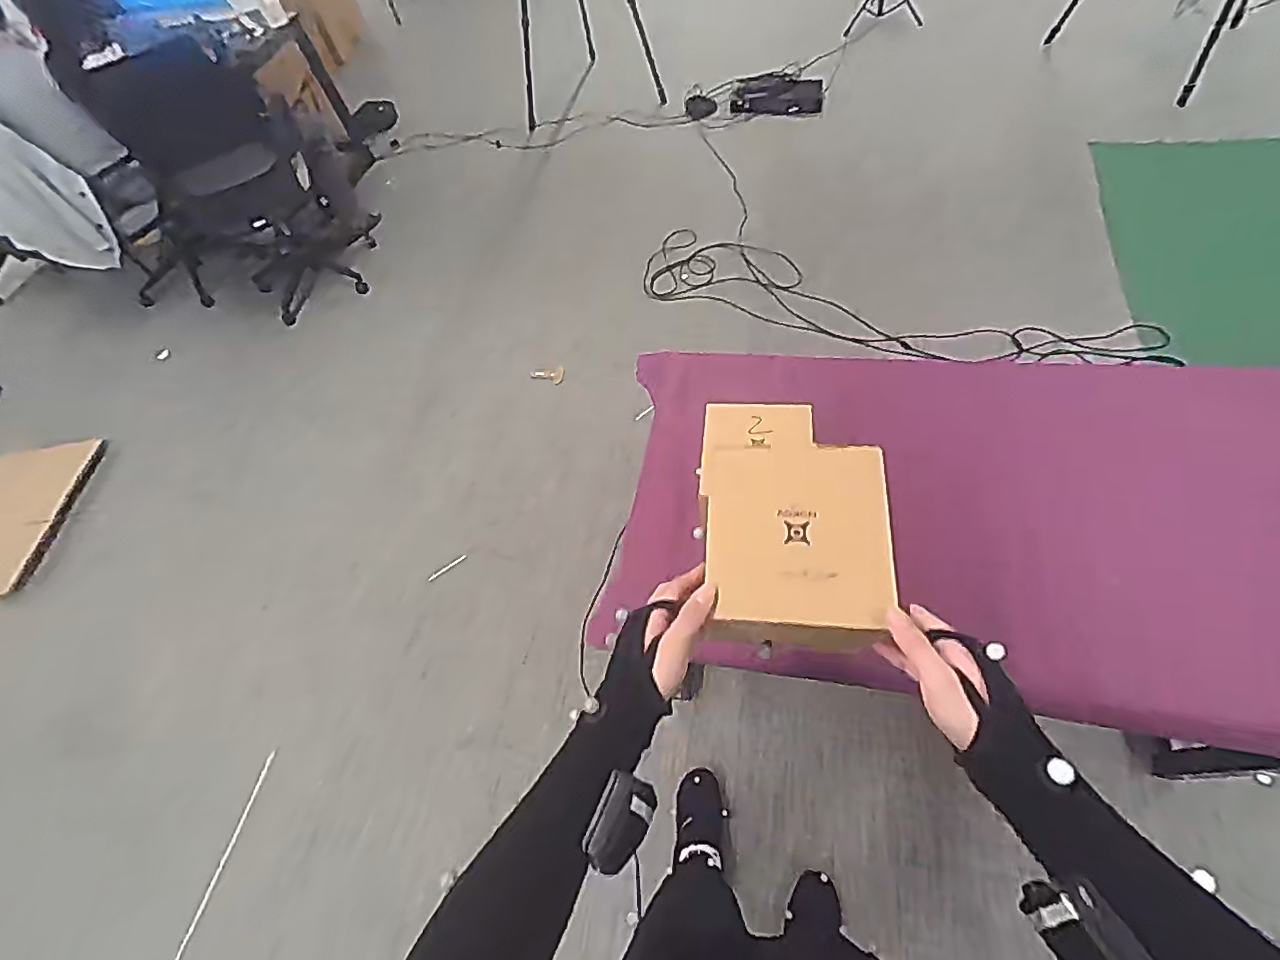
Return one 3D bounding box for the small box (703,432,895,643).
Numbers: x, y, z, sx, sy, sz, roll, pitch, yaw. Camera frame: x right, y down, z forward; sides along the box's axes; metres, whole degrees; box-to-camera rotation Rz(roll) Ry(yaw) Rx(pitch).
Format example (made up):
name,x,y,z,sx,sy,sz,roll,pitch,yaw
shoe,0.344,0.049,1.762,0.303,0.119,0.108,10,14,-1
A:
name,x,y,z,sx,sy,sz,roll,pitch,yaw
small box,0.154,0.067,0.574,0.168,0.176,0.179,3,67,9
